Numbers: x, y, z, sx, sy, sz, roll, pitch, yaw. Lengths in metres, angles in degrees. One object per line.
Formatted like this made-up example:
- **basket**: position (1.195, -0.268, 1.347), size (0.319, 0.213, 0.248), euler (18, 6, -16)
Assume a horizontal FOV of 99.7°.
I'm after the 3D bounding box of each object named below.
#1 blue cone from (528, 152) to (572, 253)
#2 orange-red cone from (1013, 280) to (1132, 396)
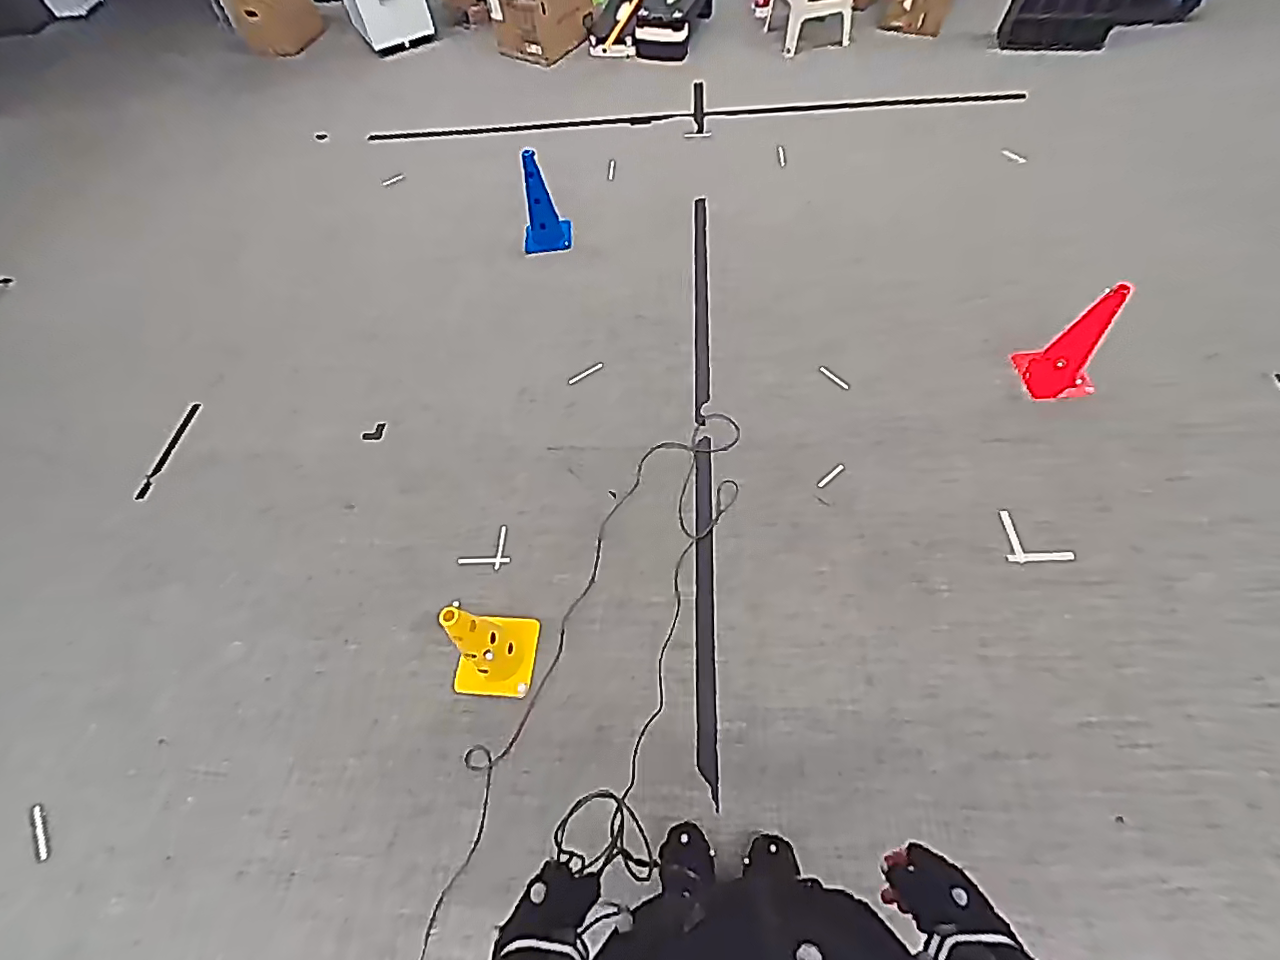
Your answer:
- **blue cone**: position (-0.403, -1.132, 2.200), size (0.192, 0.380, 0.193), euler (-5, 59, 2)
- **orange-red cone**: position (1.339, -0.445, 1.628), size (0.198, 0.360, 0.199), euler (-4, 57, 2)
